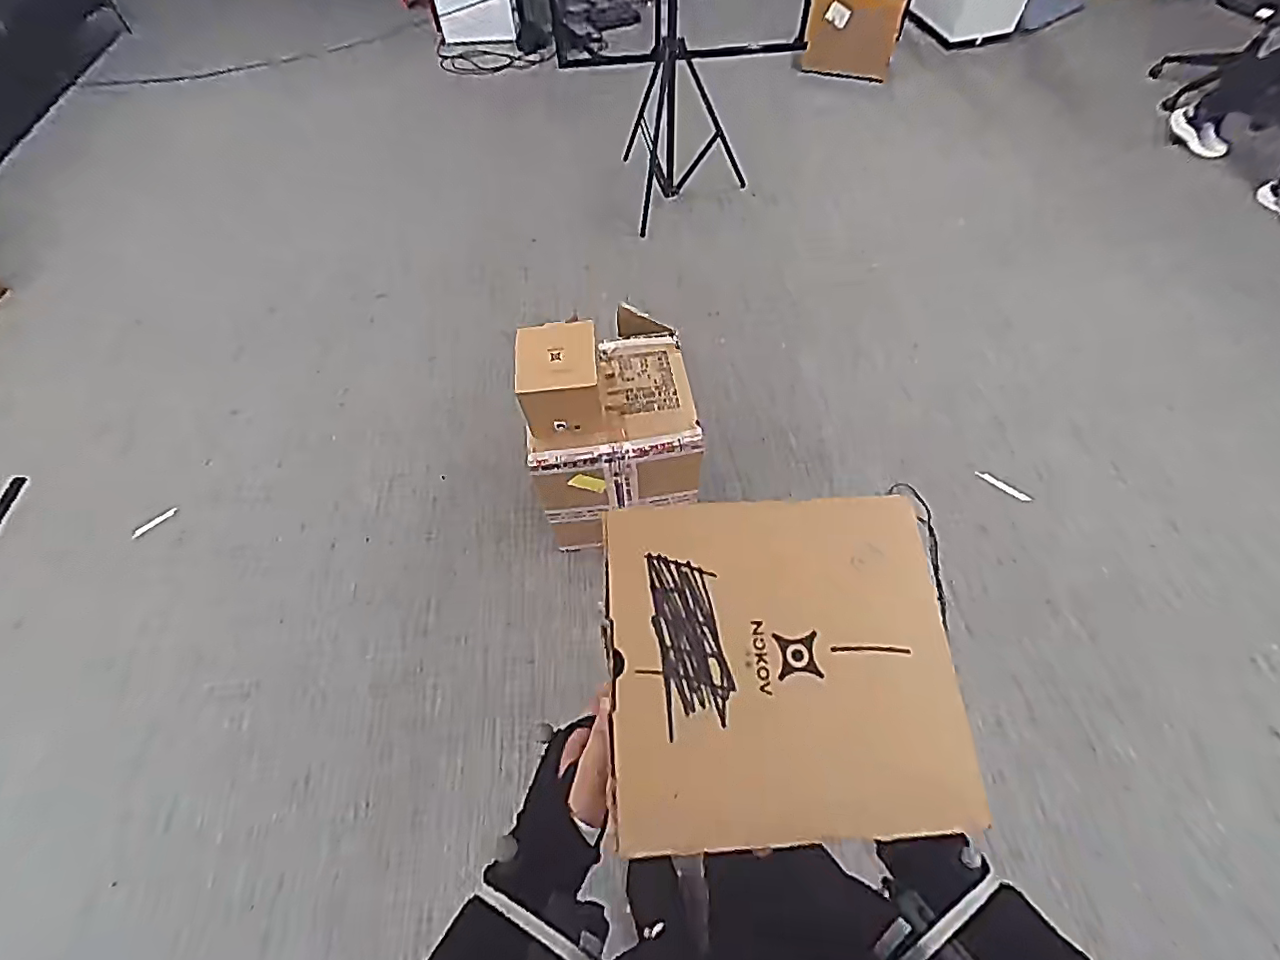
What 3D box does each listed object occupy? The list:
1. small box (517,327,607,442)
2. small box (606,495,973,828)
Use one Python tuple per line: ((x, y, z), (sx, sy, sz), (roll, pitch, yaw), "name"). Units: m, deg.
((-0.166, -0.203, 1.174), (0.168, 0.176, 0.179), (-6, 63, 0), "small box")
((0.071, 0.118, 0.362), (0.179, 0.176, 0.168), (-3, 69, -2), "small box")
